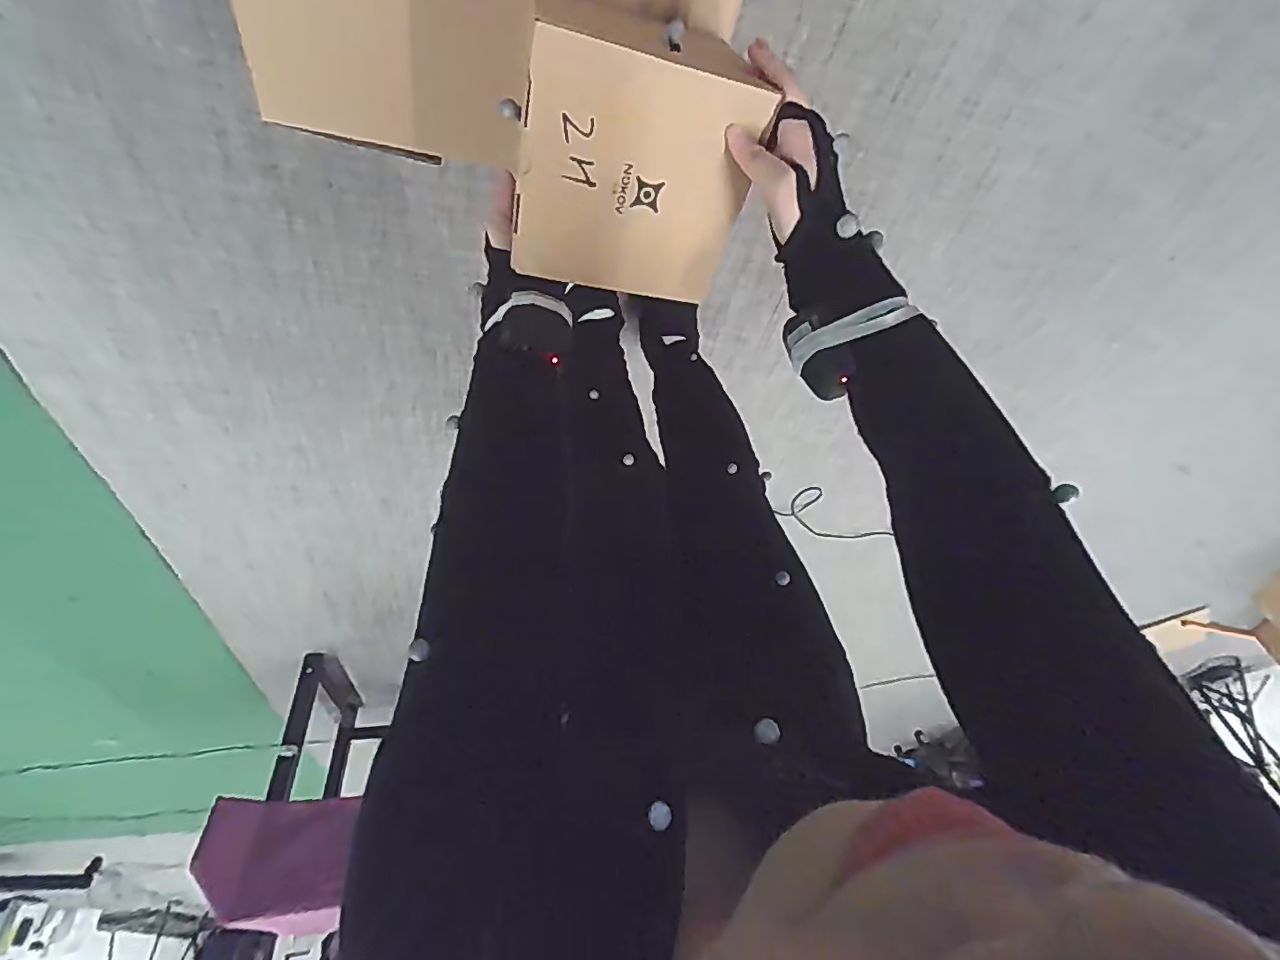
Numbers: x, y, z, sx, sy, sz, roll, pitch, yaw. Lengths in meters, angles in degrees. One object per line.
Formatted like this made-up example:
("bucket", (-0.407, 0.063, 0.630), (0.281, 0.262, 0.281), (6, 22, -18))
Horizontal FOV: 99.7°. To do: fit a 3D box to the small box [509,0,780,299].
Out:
("small box", (-0.014, -0.283, 0.461), (0.179, 0.176, 0.168), (5, 137, -16))
